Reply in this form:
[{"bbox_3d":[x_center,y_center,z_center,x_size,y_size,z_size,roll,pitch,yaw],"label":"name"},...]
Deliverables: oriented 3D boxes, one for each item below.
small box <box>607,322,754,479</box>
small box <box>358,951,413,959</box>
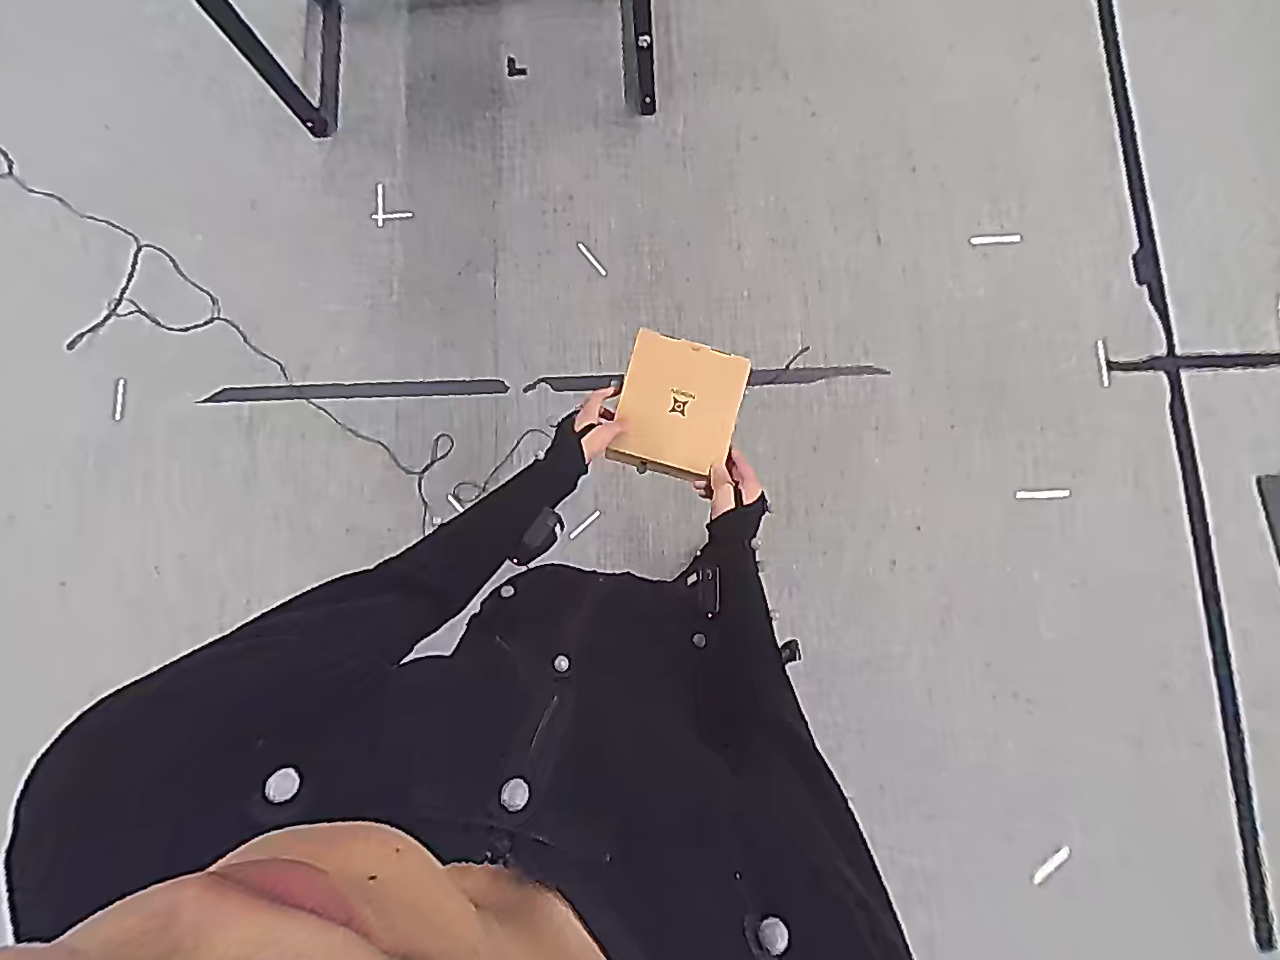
[{"bbox_3d":[0.052,-0.104,0.802,0.168,0.176,0.179,15,85,-3],"label":"small box"},{"bbox_3d":[-0.518,1.073,1.050,0.168,0.176,0.179,5,85,4],"label":"small box"}]
